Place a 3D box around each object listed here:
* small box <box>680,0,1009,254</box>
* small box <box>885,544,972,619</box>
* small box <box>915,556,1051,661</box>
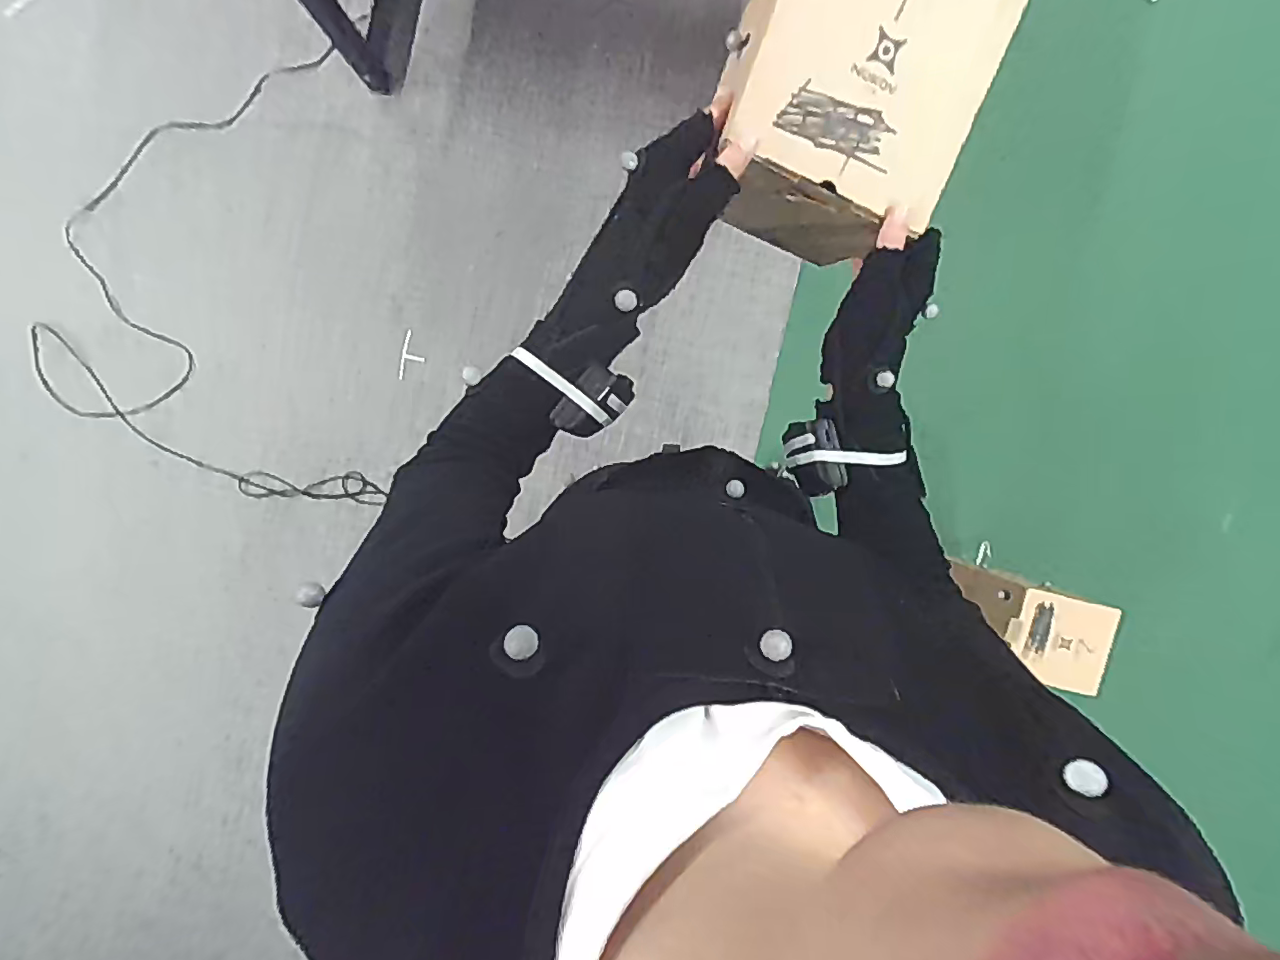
[{"bbox_3d":[0.143,-0.309,0.447,0.168,0.176,0.179,18,101,-12],"label":"small box"},{"bbox_3d":[0.764,0.272,1.379,0.179,0.176,0.168,16,93,1],"label":"small box"},{"bbox_3d":[0.760,0.278,1.216,0.179,0.176,0.168,14,94,2],"label":"small box"}]
